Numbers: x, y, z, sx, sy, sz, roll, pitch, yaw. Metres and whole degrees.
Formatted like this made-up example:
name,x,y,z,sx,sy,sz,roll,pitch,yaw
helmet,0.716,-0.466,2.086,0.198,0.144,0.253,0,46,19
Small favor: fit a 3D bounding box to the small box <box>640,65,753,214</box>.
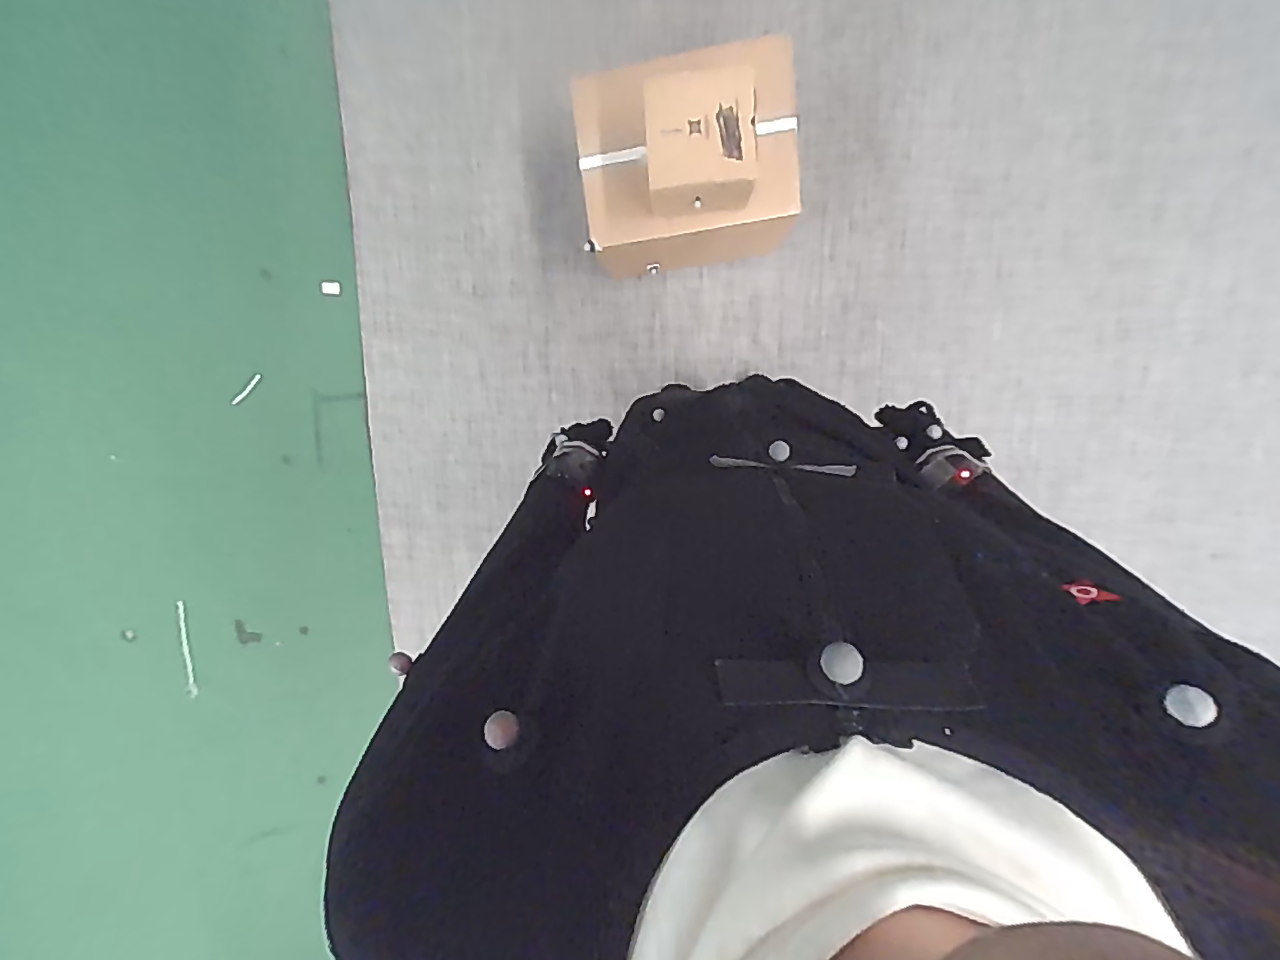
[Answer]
name,x,y,z,sx,sy,sz,roll,pitch,yaw
small box,0.097,-0.576,0.938,0.179,0.176,0.168,-3,101,6
